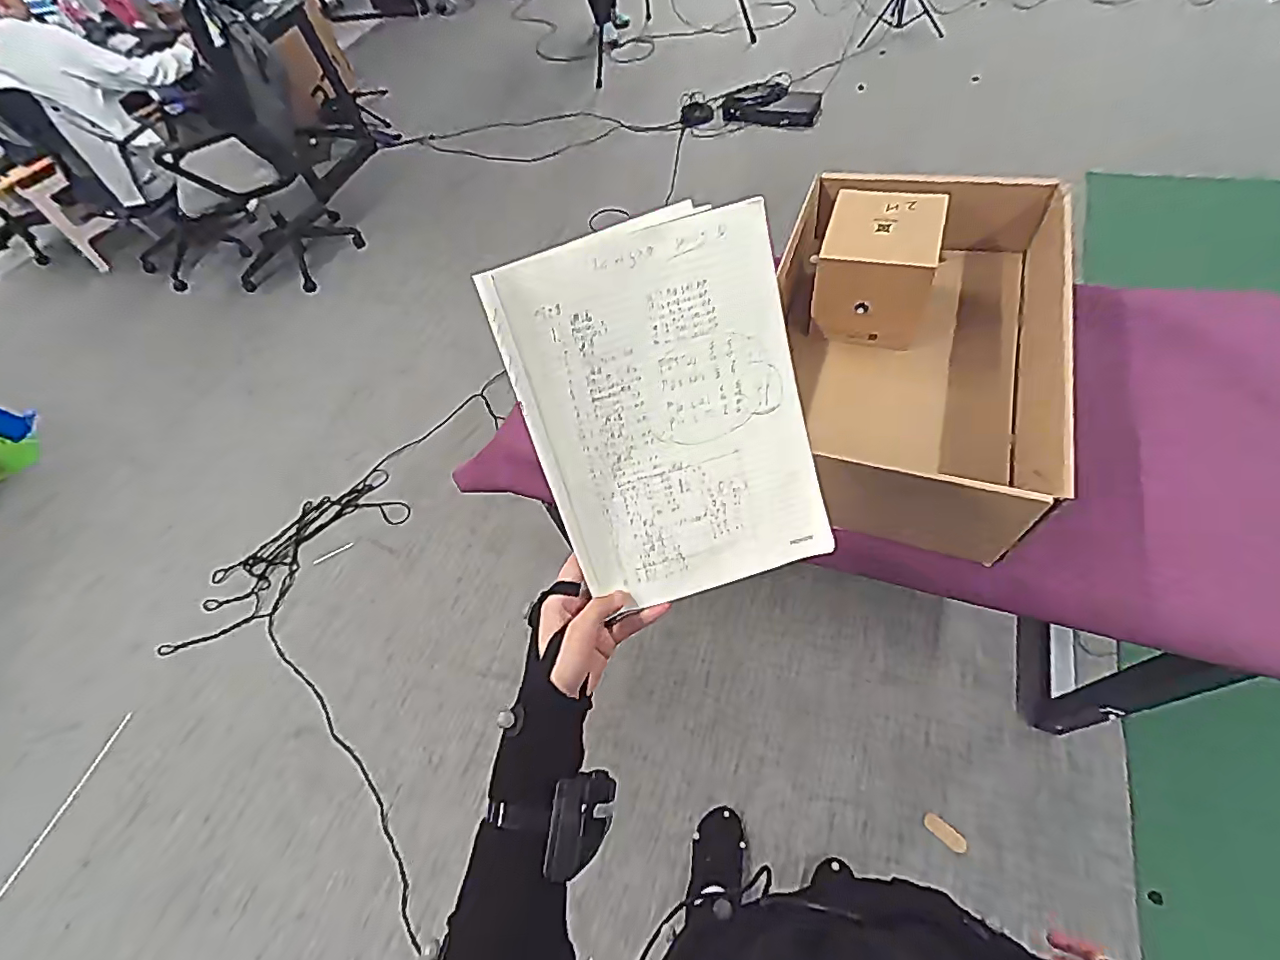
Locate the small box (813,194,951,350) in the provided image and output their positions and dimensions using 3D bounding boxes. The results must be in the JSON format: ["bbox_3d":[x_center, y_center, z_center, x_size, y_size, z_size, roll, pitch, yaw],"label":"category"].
[{"bbox_3d":[0.390,-0.339,0.892,0.168,0.176,0.179,14,63,19],"label":"small box"}]
